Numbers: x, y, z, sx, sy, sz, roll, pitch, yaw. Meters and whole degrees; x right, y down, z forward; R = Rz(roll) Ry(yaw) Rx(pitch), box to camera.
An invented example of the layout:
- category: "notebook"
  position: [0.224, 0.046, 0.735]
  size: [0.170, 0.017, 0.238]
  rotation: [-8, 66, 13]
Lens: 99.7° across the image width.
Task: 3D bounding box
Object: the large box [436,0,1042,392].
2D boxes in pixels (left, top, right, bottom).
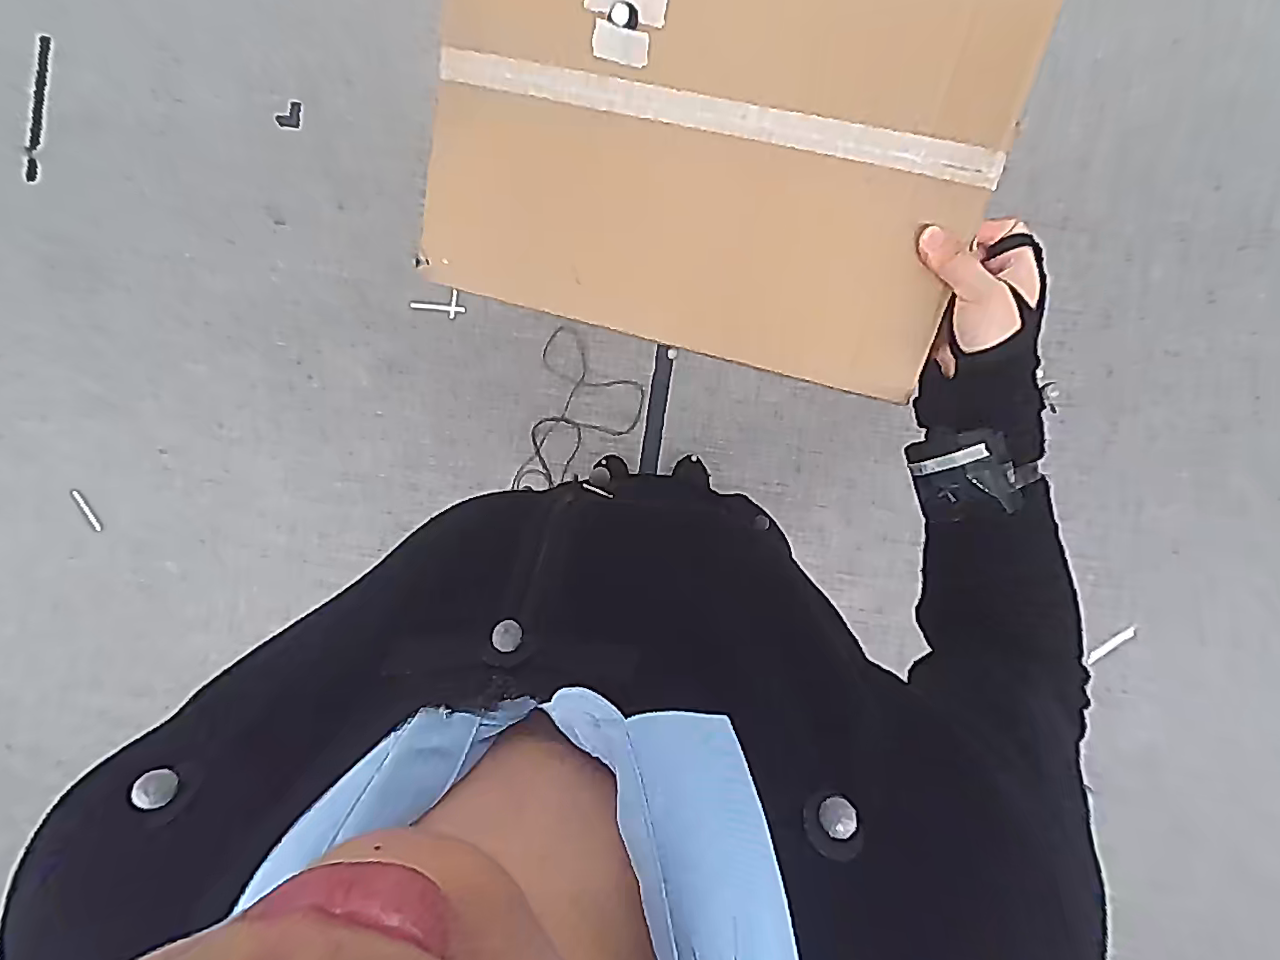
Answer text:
- category: "large box"
  position: [0.077, -0.291, 0.540]
  size: [0.408, 0.320, 0.320]
  rotation: [17, 105, 9]
